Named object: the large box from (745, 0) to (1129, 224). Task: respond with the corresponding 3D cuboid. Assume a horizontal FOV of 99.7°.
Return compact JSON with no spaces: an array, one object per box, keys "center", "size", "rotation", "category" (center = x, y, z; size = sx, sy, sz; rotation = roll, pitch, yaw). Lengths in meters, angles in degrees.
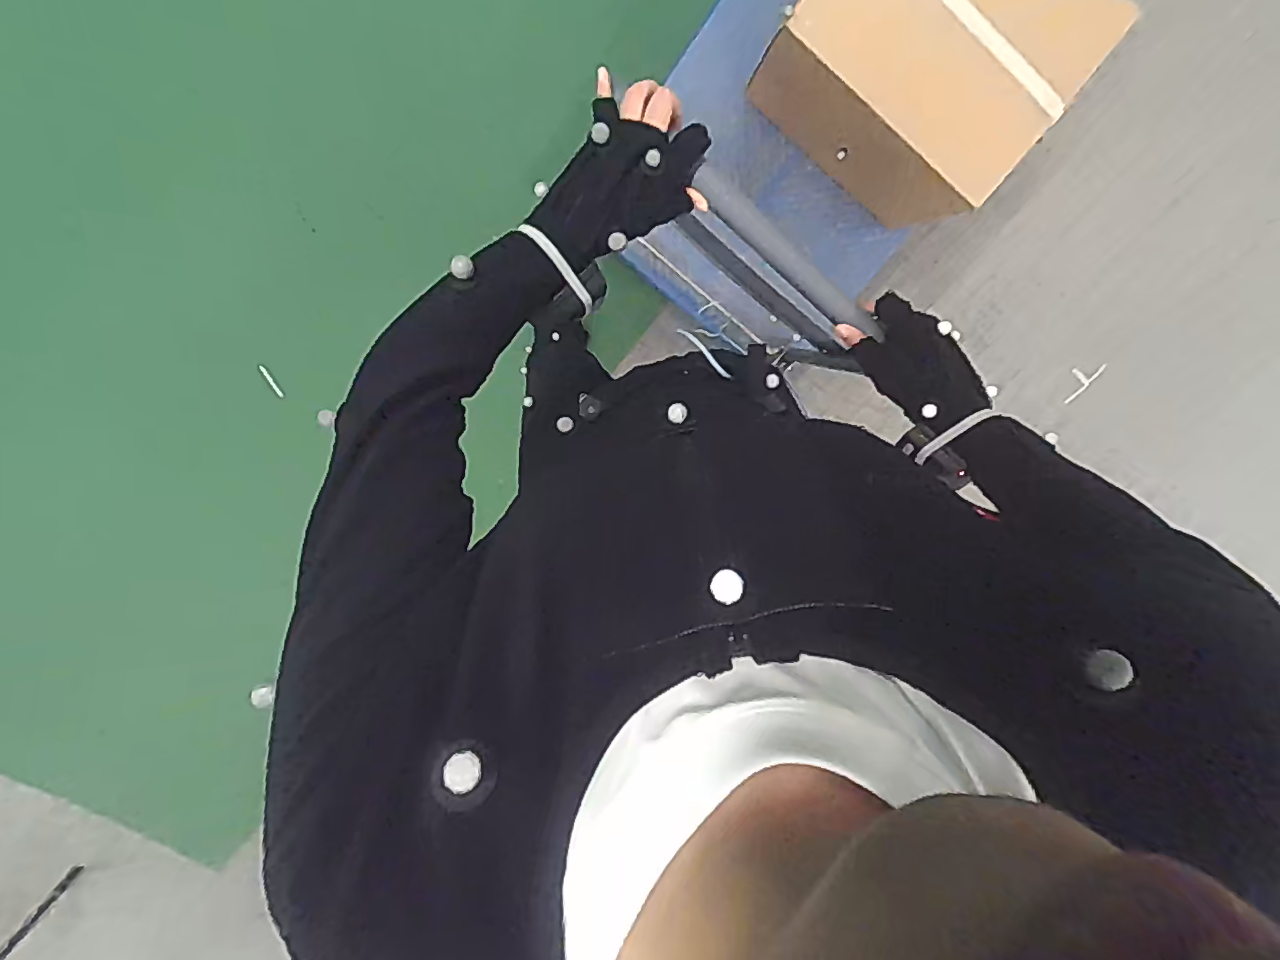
[{"center":[0.444,-0.699,0.904],"size":[0.408,0.320,0.320],"rotation":[36,105,-11],"category":"large box"}]
